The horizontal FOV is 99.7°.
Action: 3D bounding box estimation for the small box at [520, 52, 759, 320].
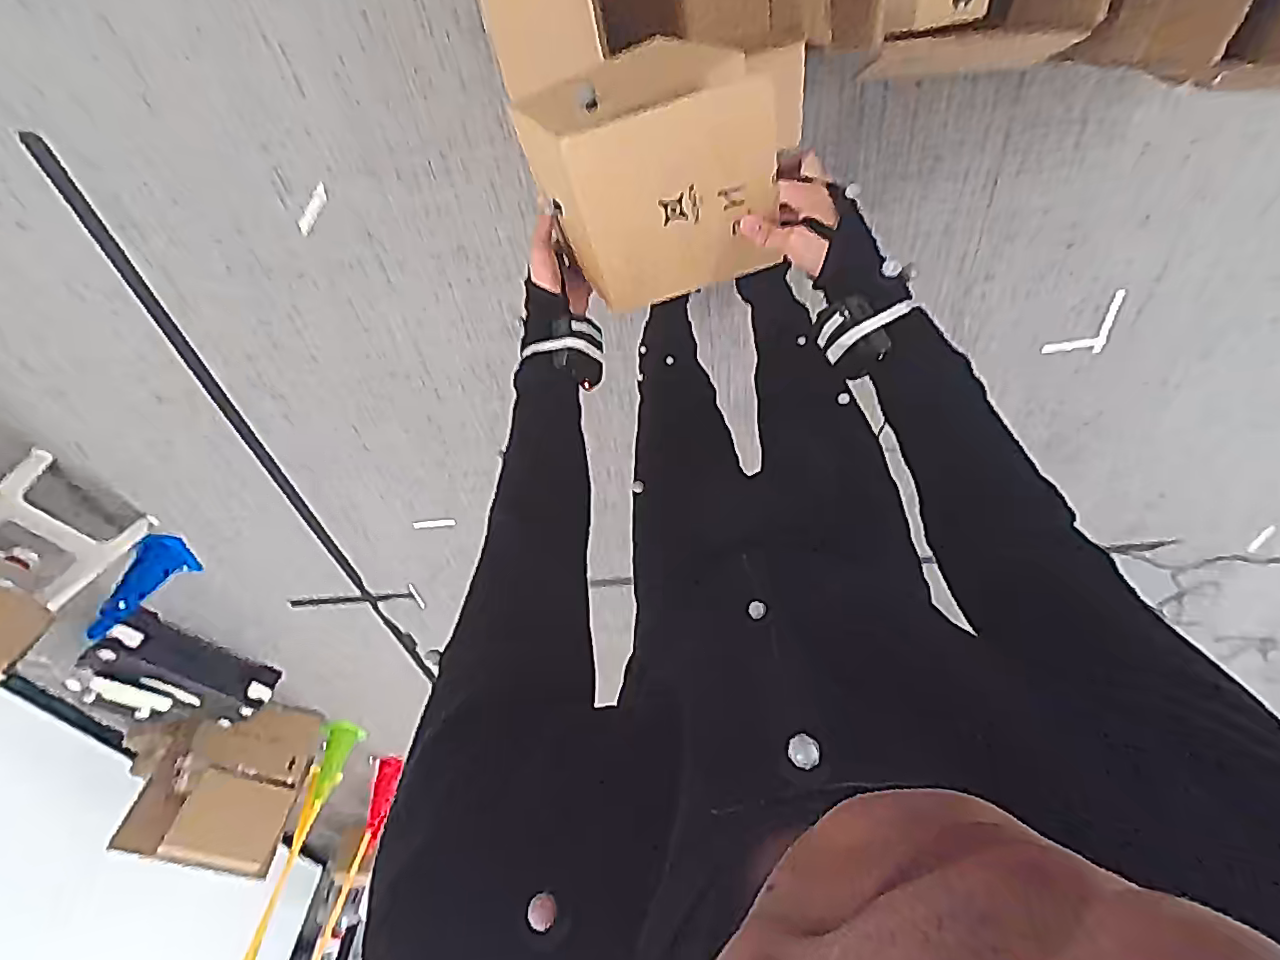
[{"bbox_3d":[-0.005,-0.298,0.544,0.179,0.176,0.168,-28,138,-6],"label":"small box"}]
